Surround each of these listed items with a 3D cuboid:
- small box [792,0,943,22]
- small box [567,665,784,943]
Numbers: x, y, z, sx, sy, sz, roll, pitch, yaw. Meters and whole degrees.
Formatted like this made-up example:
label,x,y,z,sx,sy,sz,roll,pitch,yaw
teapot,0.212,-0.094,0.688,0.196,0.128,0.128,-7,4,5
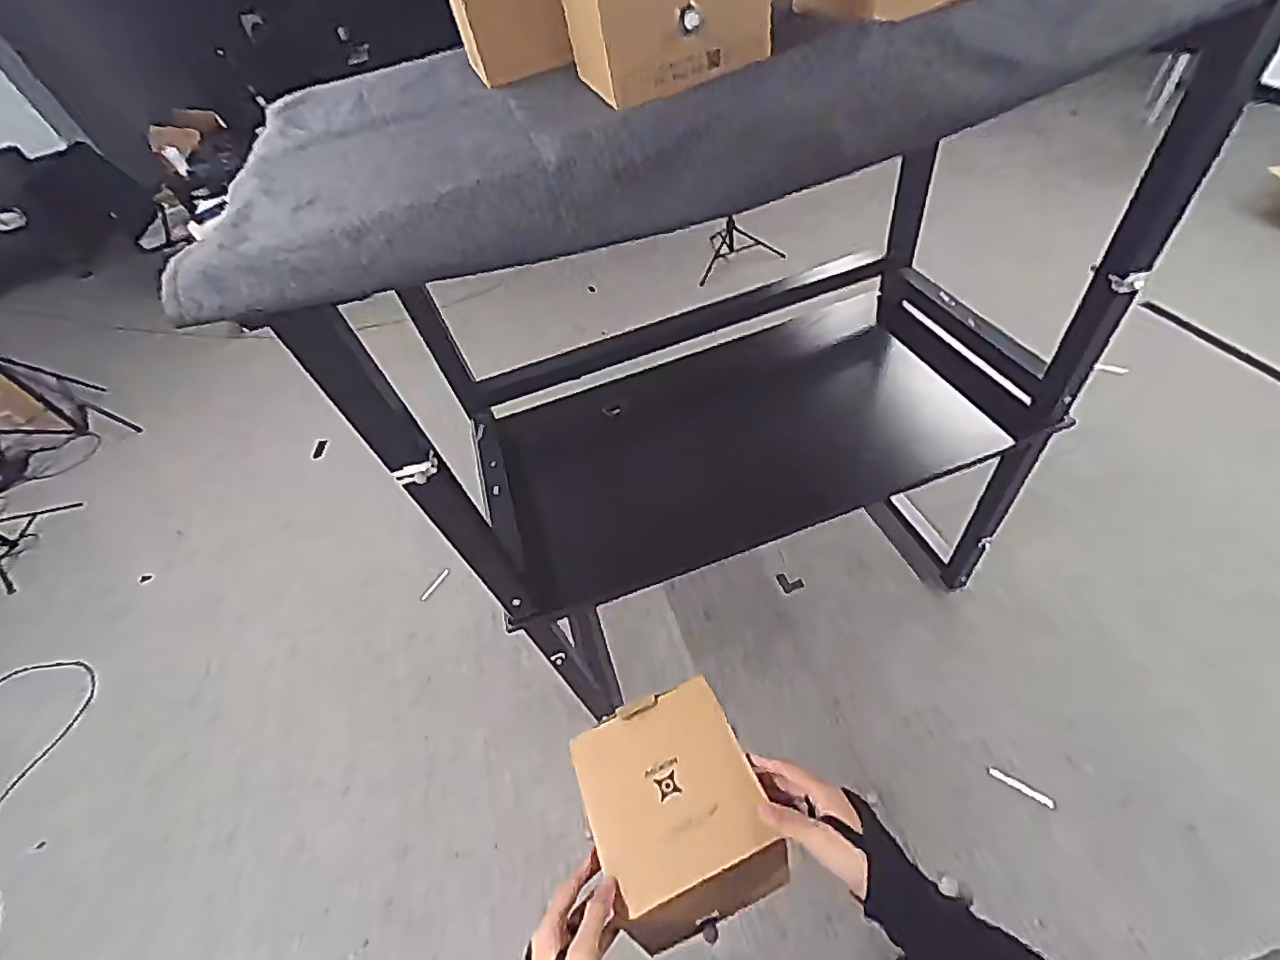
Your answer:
label,x,y,z,sx,sy,sz,roll,pitch,yaw
small box,0.270,-0.605,0.559,0.168,0.176,0.179,-20,47,-4
small box,0.038,0.341,0.577,0.168,0.176,0.179,-22,40,-8
